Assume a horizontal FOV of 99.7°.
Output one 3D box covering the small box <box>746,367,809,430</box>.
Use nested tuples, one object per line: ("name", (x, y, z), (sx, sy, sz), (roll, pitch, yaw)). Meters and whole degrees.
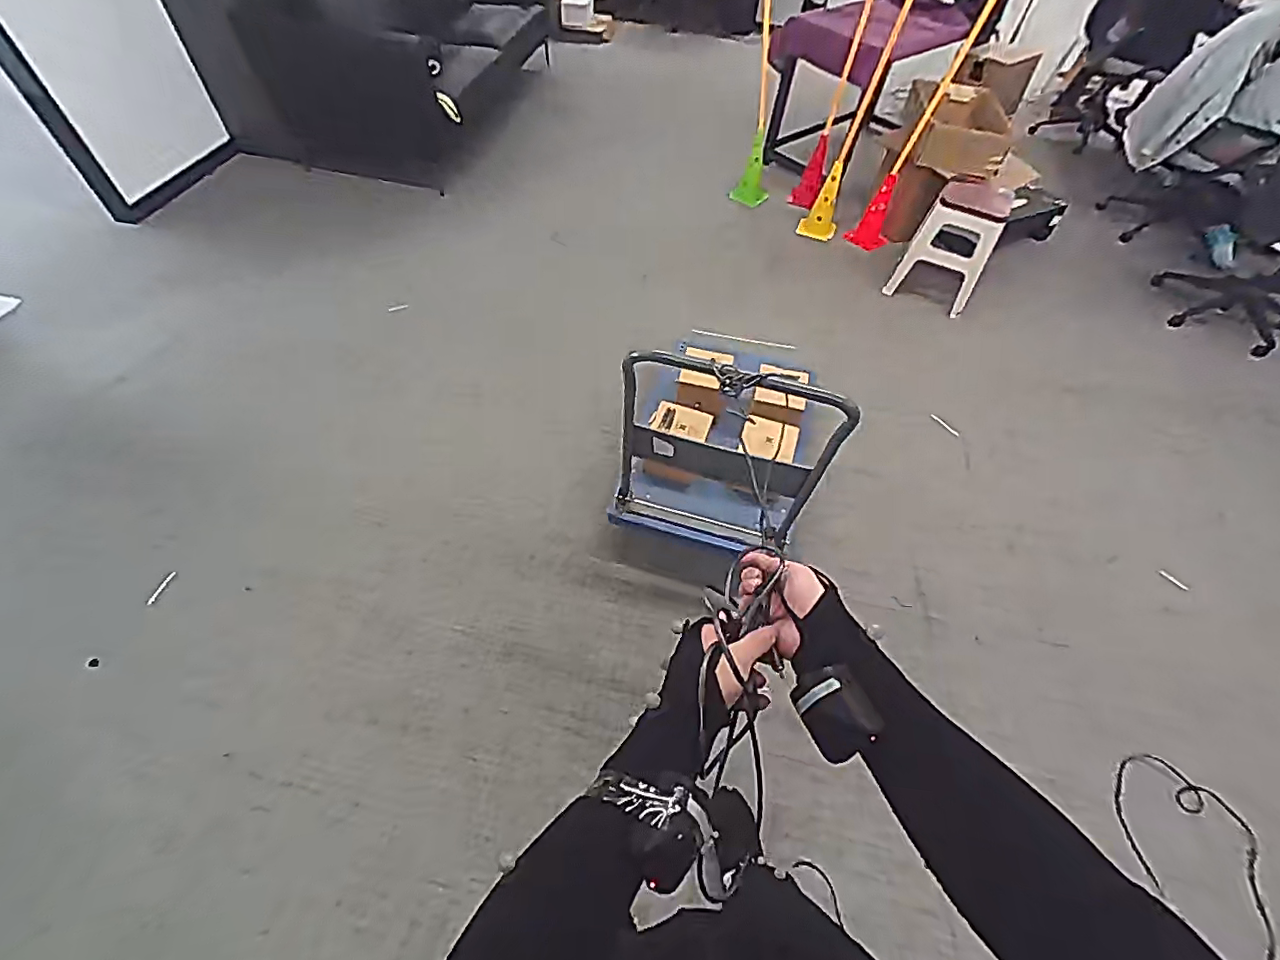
("small box", (0.466, -0.253, 1.843), (0.168, 0.176, 0.179), (13, 55, 7))

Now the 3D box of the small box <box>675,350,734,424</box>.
("small box", (0.221, -0.317, 1.876), (0.168, 0.176, 0.179), (12, 54, 5))

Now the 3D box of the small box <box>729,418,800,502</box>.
("small box", (0.388, -0.062, 1.704), (0.168, 0.176, 0.179), (16, 56, 9))
